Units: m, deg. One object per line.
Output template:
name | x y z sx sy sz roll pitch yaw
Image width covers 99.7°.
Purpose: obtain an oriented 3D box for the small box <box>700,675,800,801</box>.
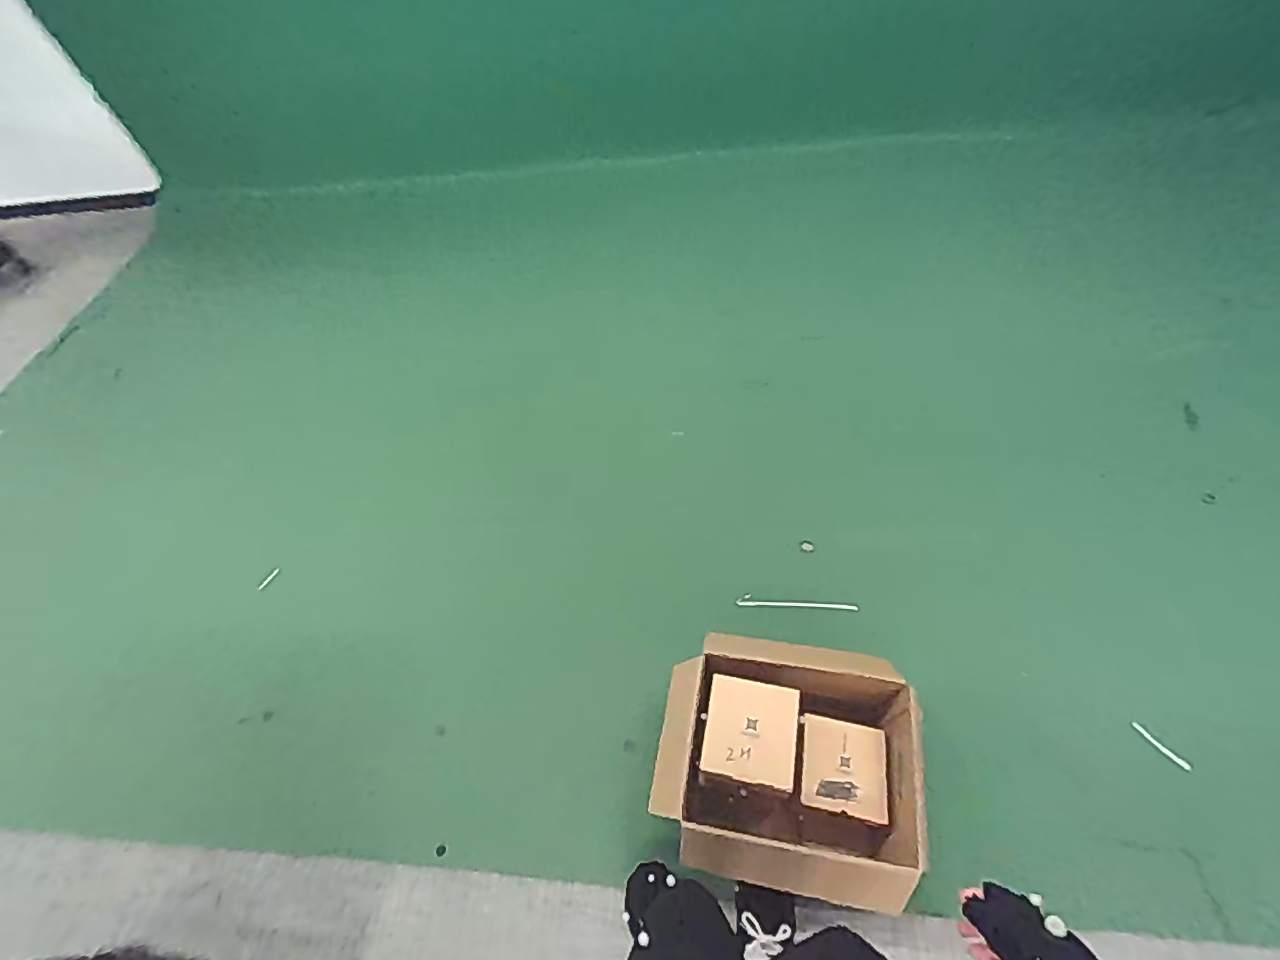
small box | 0.215 0.510 1.063 0.168 0.176 0.179 7 57 15
